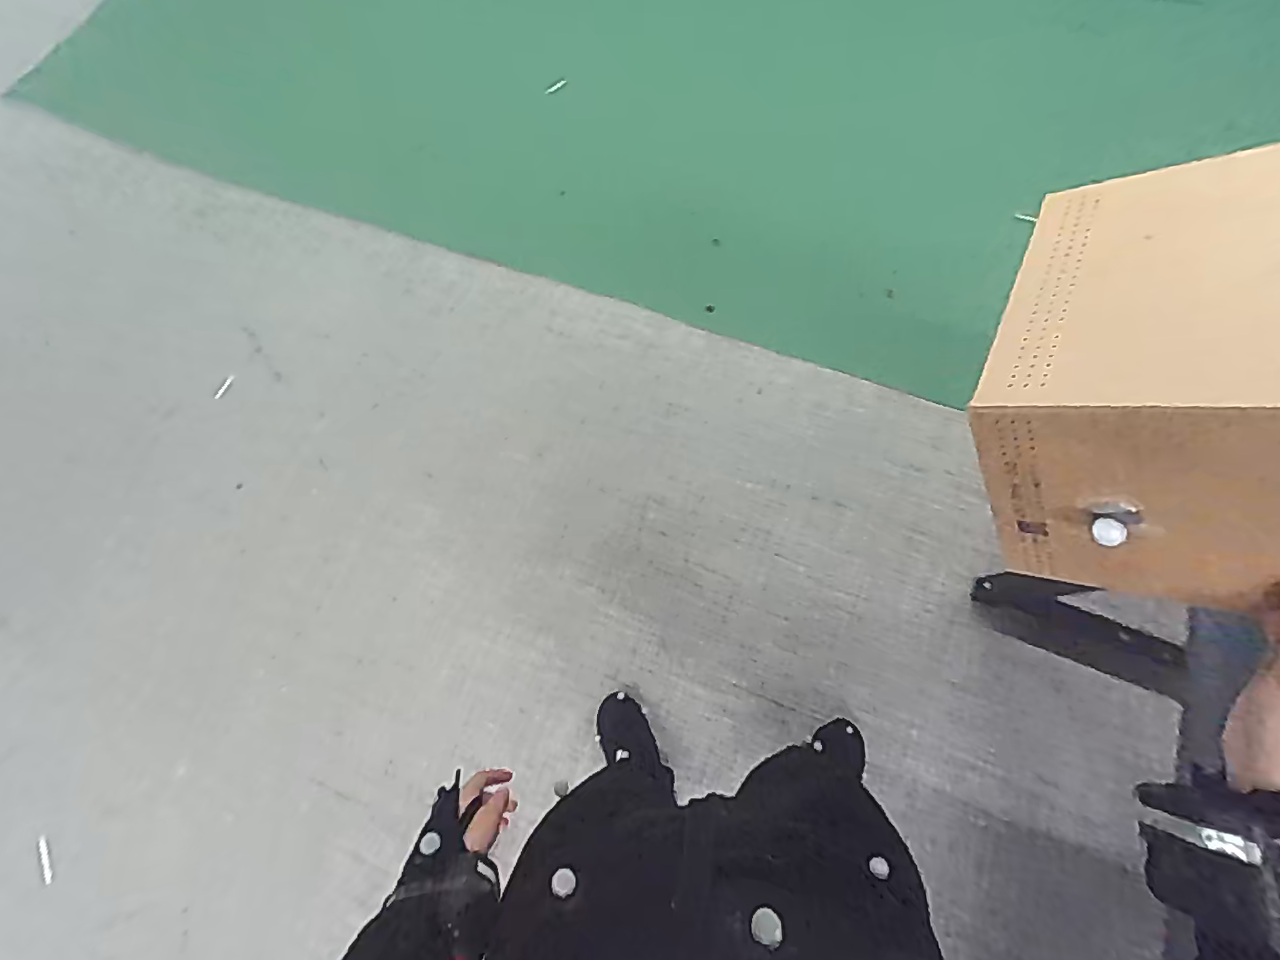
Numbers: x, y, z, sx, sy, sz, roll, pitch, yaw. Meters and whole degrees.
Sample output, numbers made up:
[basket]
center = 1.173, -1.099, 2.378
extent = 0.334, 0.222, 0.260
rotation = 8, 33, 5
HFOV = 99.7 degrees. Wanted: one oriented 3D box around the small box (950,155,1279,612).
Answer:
[small box]
center = 0.292, -0.053, 0.299
extent = 0.176, 0.168, 0.179
rotation = 7, 58, 46
